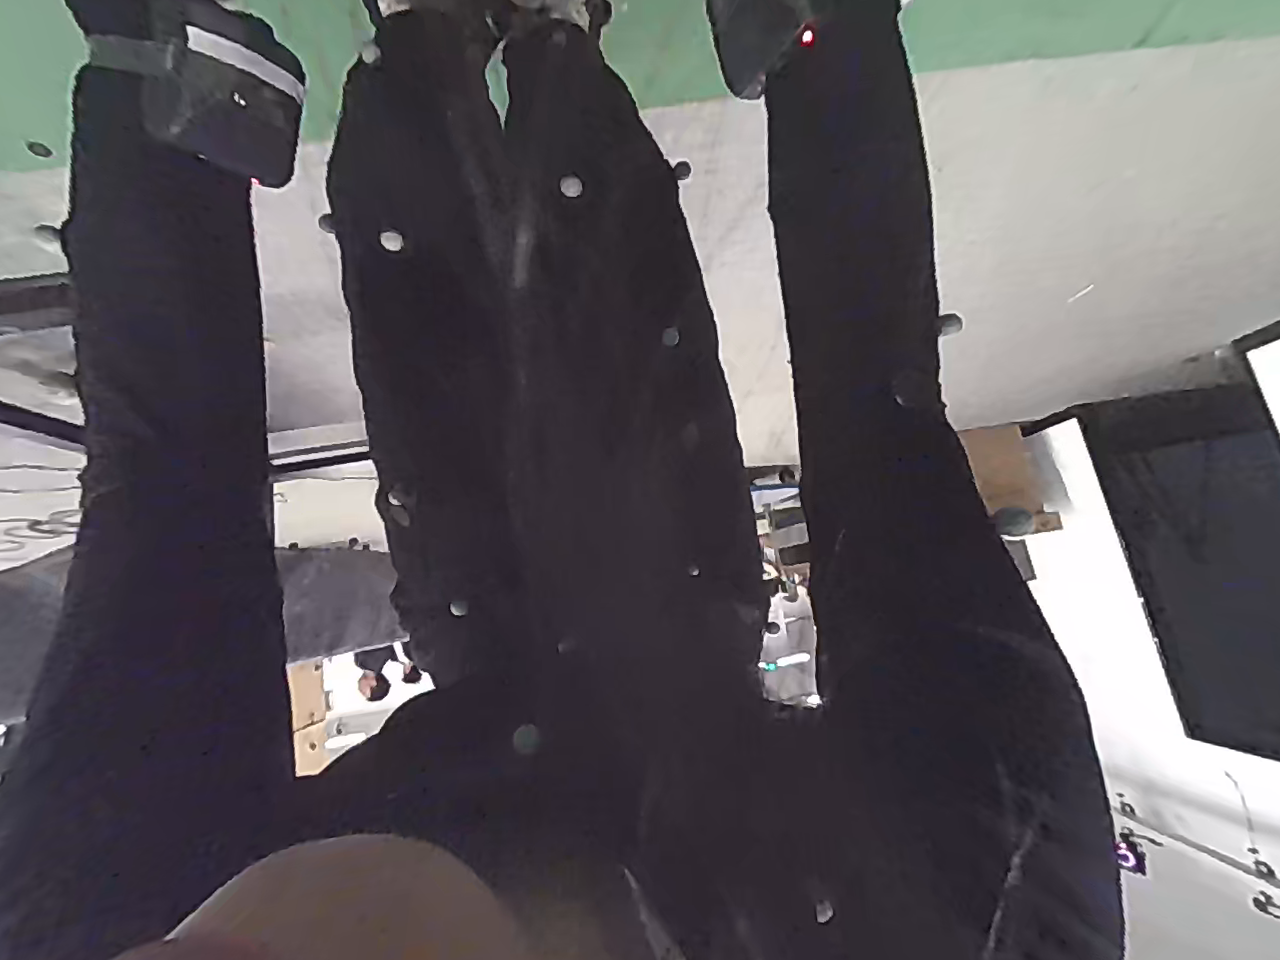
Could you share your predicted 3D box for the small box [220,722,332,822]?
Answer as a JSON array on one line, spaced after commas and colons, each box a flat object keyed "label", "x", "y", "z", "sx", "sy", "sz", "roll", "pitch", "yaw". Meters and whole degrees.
[{"label": "small box", "x": -0.894, "y": 0.713, "z": 1.340, "sx": 0.179, "sy": 0.176, "sz": 0.168, "roll": -9, "pitch": 168, "yaw": -3}]

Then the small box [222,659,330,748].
[{"label": "small box", "x": -0.921, "y": 0.557, "z": 1.374, "sx": 0.179, "sy": 0.176, "sz": 0.168, "roll": -8, "pitch": 168, "yaw": -3}]
